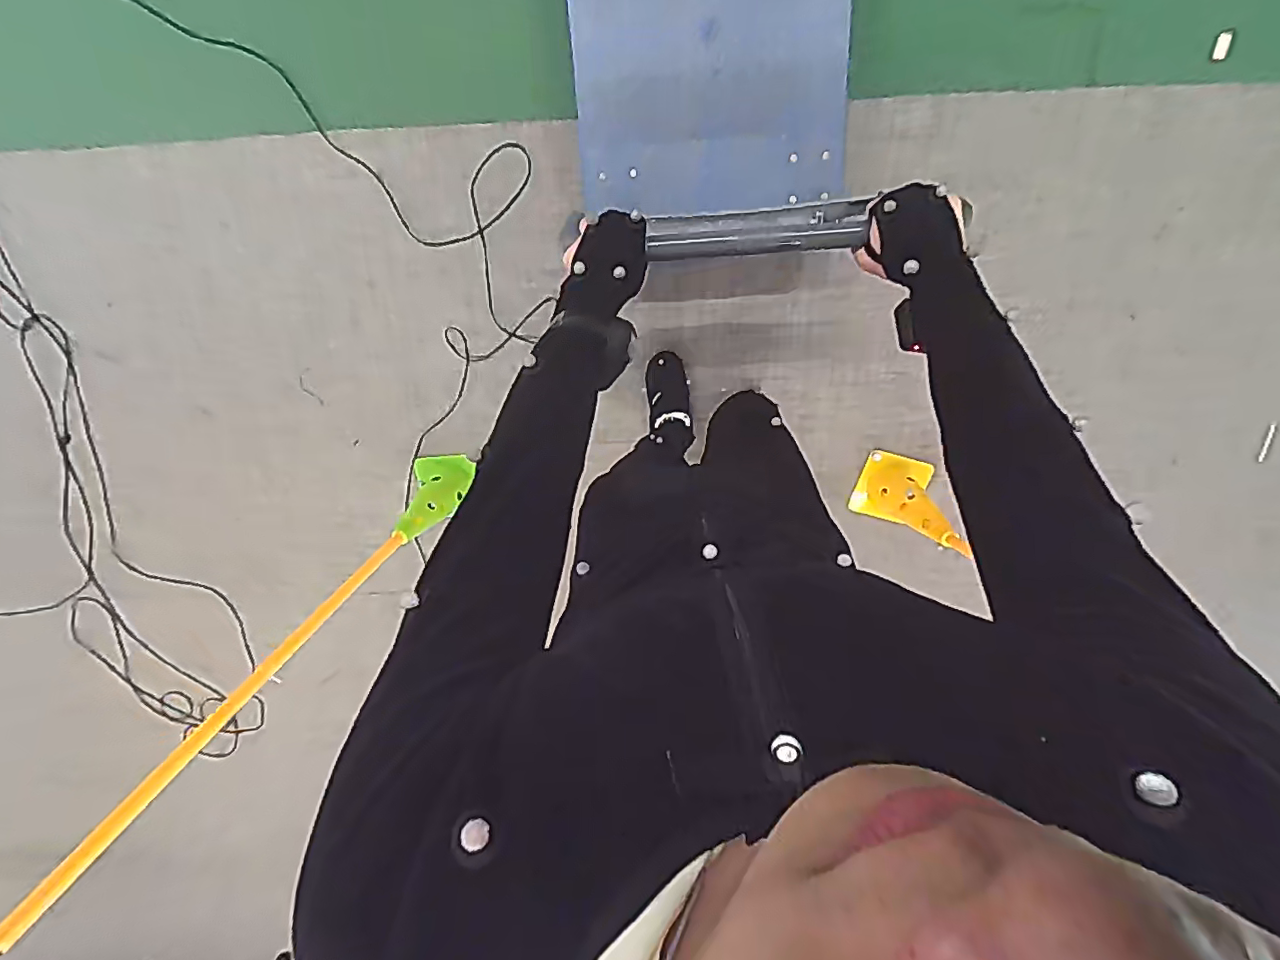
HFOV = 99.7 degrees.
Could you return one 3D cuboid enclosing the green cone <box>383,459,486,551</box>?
[{"bbox_3d":[-0.594,0.092,1.491,0.202,0.368,0.200,-4,109,6],"label":"green cone"}]
